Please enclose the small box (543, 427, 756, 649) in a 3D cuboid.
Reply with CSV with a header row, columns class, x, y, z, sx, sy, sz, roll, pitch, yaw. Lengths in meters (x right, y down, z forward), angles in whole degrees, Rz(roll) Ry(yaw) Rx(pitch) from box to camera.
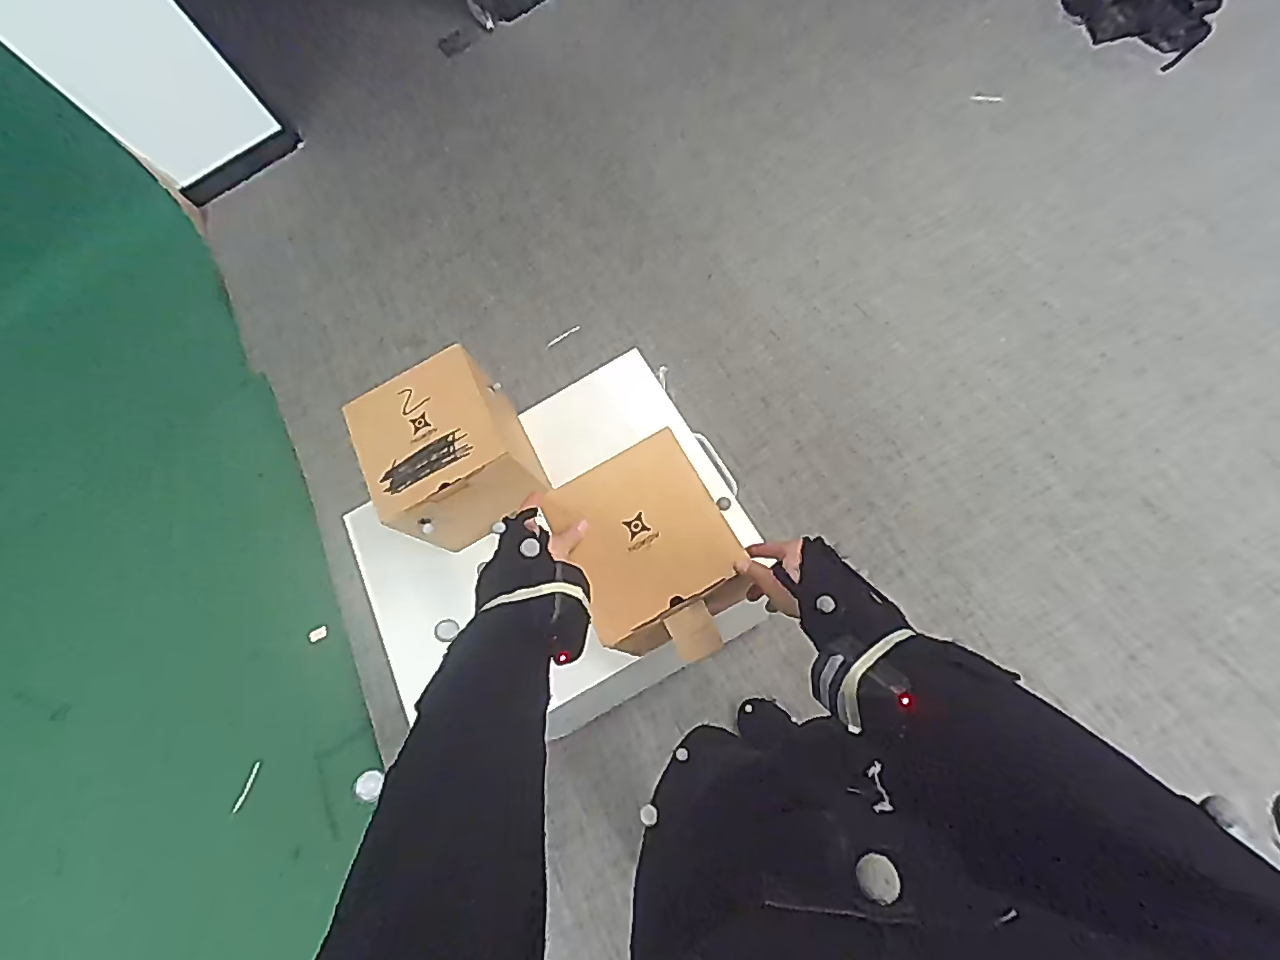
class,x,y,z,sx,sy,sz,roll,pitch,yaw
small box,0.016,0.076,0.619,0.168,0.176,0.179,-29,67,0
